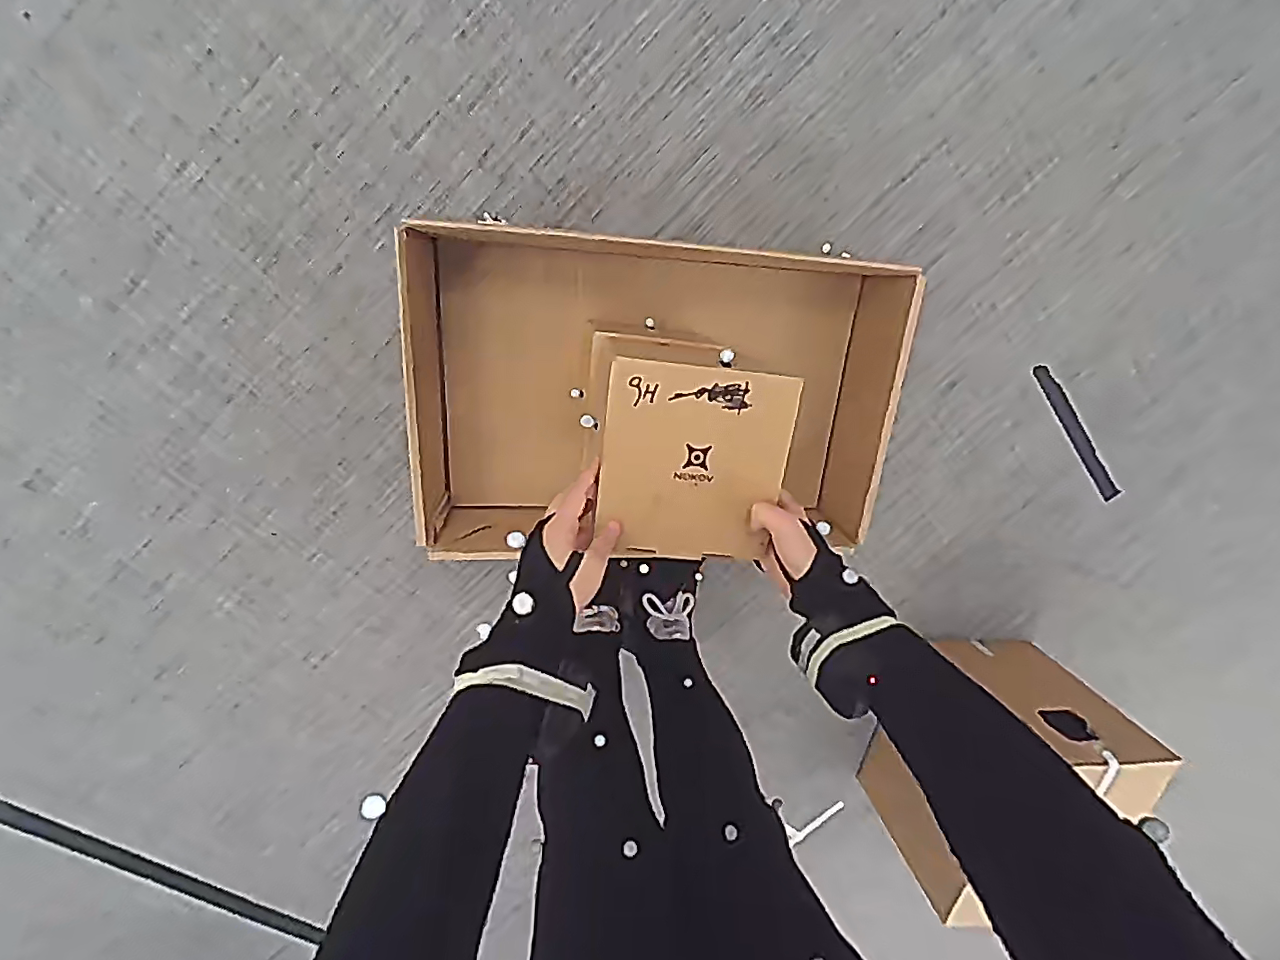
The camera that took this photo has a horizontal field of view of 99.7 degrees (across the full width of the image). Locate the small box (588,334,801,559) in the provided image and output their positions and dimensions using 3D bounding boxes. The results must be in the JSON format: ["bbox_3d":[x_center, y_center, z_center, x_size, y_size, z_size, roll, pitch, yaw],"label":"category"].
[{"bbox_3d":[0.038,-0.042,0.549,0.168,0.176,0.179,5,110,-8],"label":"small box"}]
